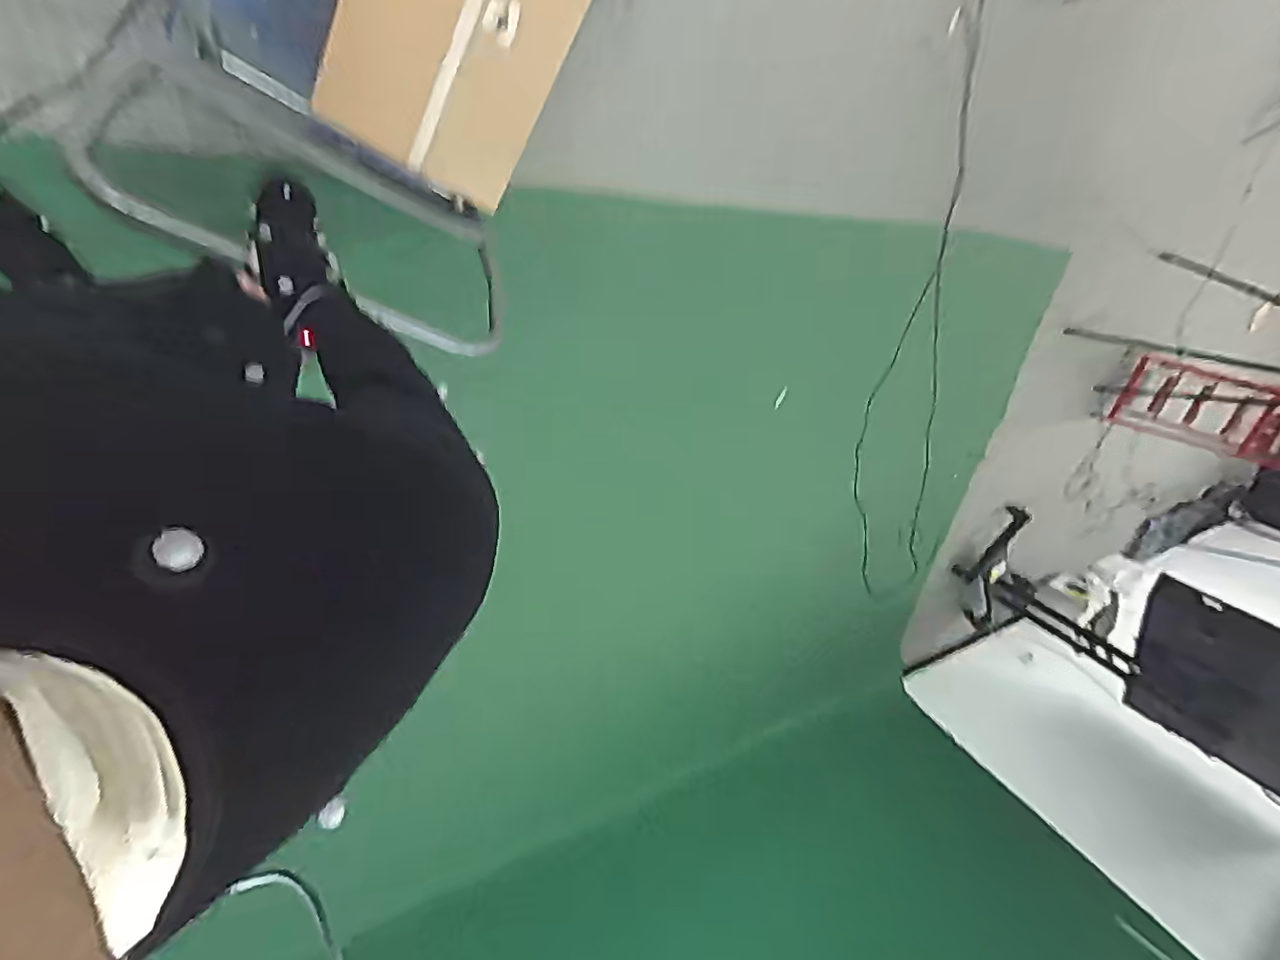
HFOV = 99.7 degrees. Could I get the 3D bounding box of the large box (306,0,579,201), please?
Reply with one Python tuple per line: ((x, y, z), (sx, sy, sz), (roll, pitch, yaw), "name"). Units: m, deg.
((-0.346, -0.792, 0.942), (0.320, 0.320, 0.408), (16, 121, -38), "large box")
